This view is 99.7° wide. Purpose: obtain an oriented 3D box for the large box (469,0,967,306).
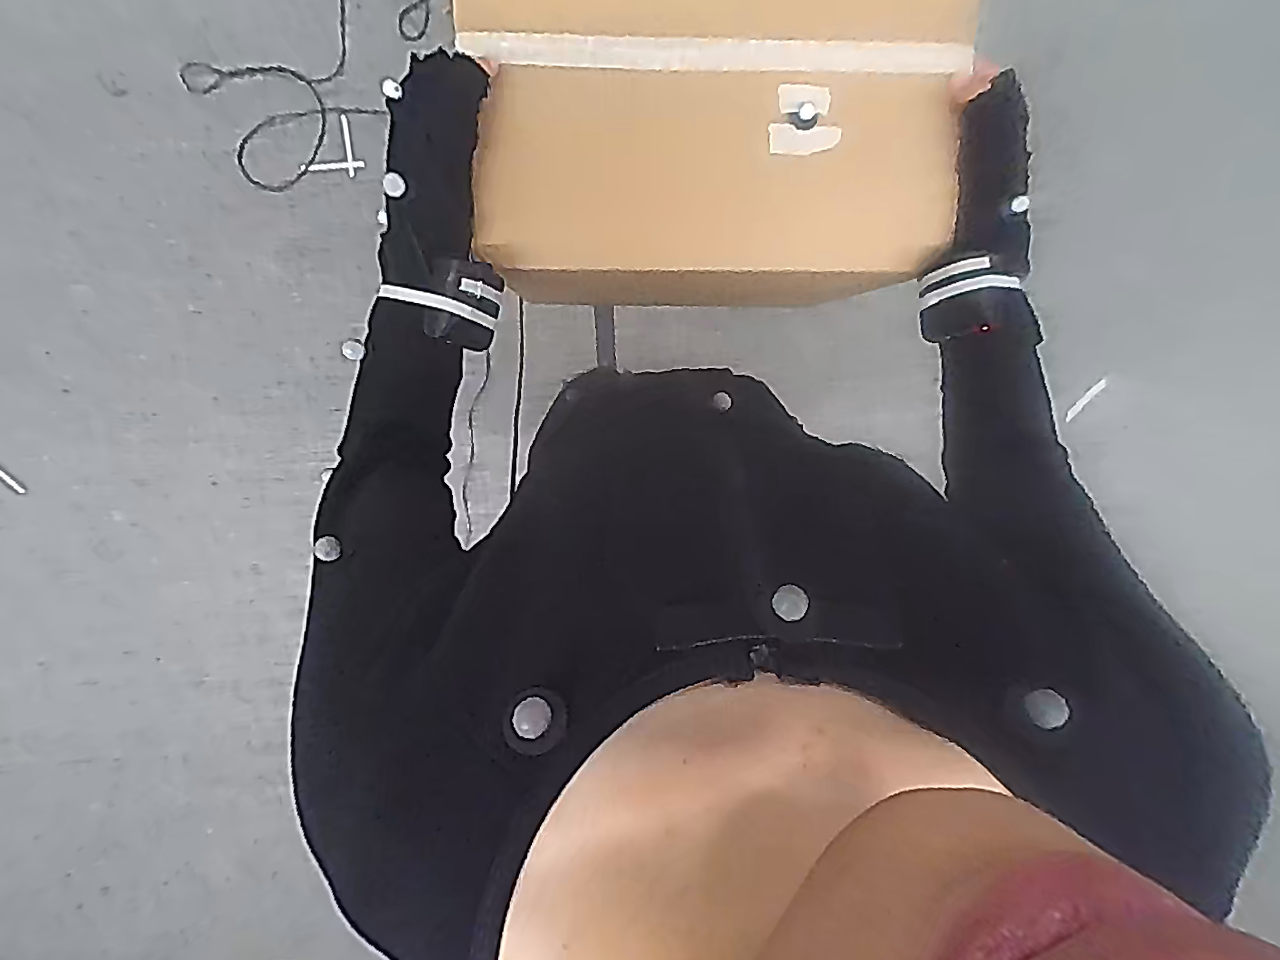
[{"bbox_3d":[0.056,-0.368,0.581,0.408,0.320,0.320,-1,102,-3],"label":"large box"}]
